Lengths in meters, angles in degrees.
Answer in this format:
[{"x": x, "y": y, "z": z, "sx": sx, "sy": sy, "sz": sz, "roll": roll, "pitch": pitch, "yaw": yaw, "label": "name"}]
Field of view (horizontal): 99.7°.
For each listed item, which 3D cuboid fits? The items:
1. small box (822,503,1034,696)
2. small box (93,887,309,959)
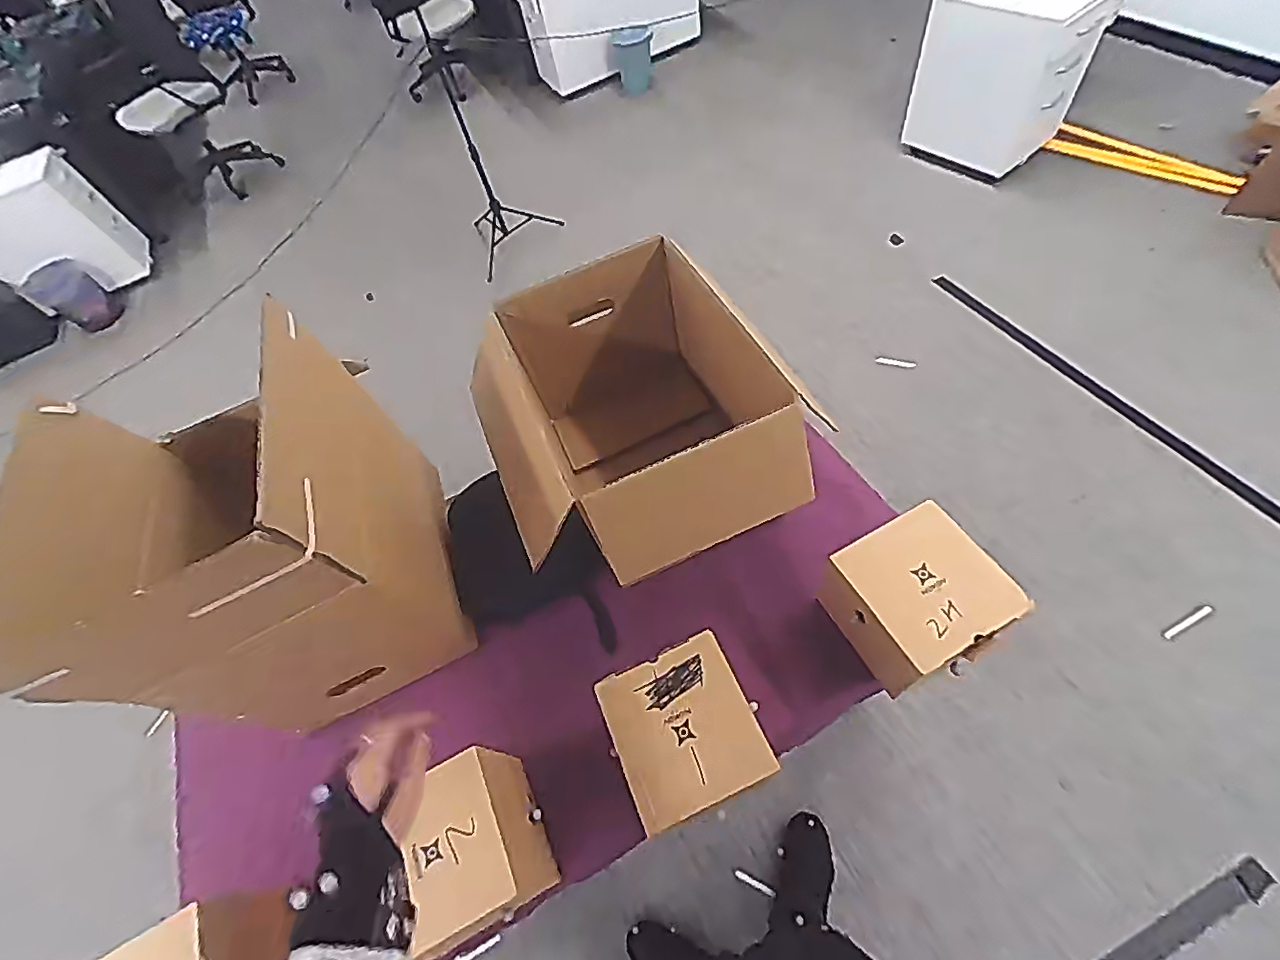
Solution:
[{"x": 0.371, "y": 0.168, "z": 0.740, "sx": 0.168, "sy": 0.176, "sz": 0.179, "roll": -28, "pitch": 58, "yaw": -5, "label": "small box"}, {"x": -0.530, "y": 0.622, "z": 0.639, "sx": 0.179, "sy": 0.176, "sz": 0.168, "roll": -29, "pitch": 58, "yaw": -9, "label": "small box"}]
